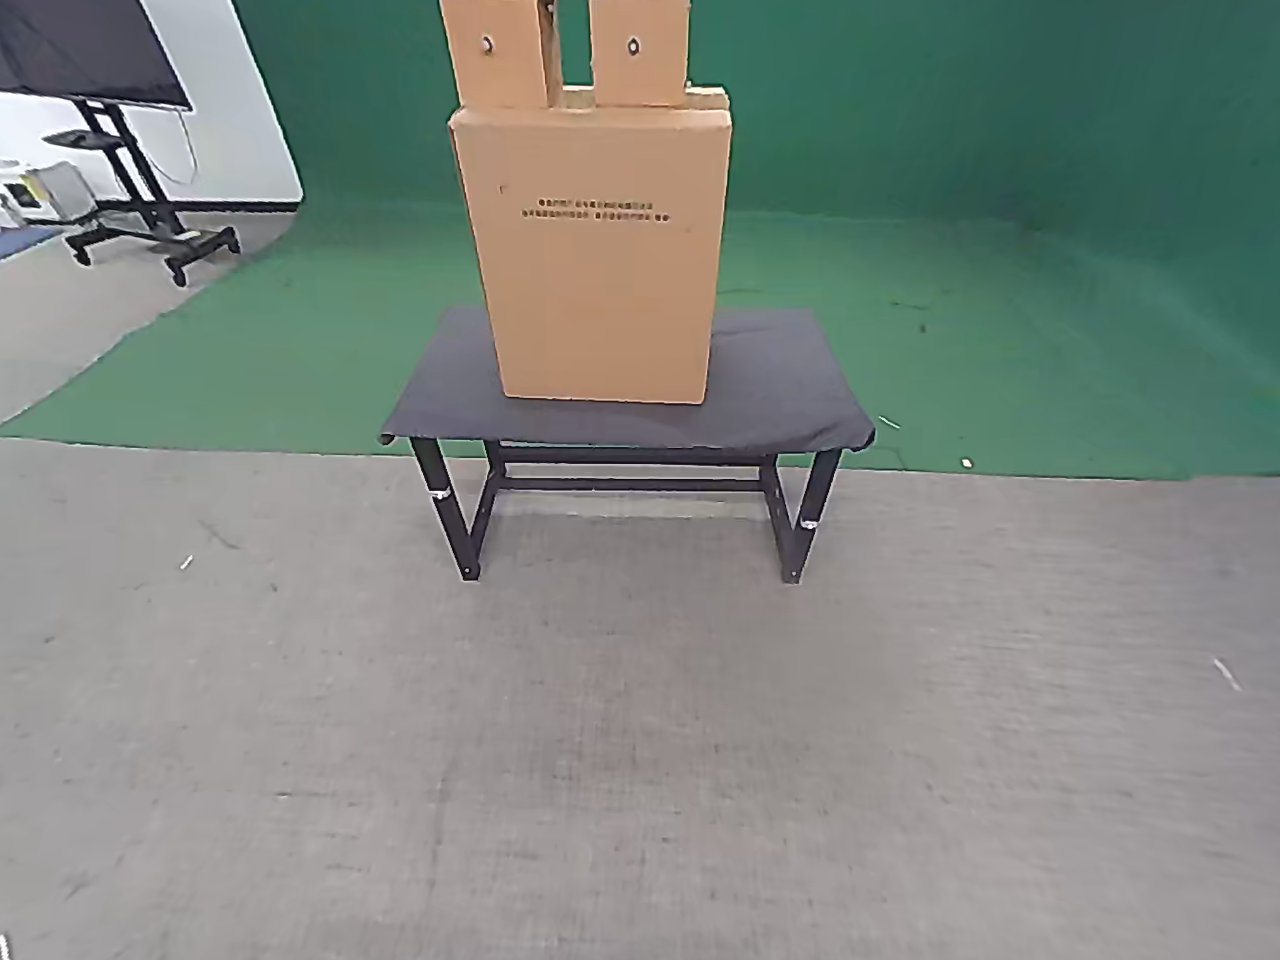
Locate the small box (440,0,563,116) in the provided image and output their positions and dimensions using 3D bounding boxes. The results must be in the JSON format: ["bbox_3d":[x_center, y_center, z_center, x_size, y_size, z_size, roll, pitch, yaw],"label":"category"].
[{"bbox_3d":[-0.257,-0.827,1.051,0.179,0.176,0.168,3,48,4],"label":"small box"}]

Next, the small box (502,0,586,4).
[{"bbox_3d":[-0.160,-0.939,0.932,0.179,0.176,0.168,-5,46,-3],"label":"small box"}]

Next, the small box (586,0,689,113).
[{"bbox_3d":[0.001,-0.835,1.052,0.179,0.176,0.168,3,48,5],"label":"small box"}]
